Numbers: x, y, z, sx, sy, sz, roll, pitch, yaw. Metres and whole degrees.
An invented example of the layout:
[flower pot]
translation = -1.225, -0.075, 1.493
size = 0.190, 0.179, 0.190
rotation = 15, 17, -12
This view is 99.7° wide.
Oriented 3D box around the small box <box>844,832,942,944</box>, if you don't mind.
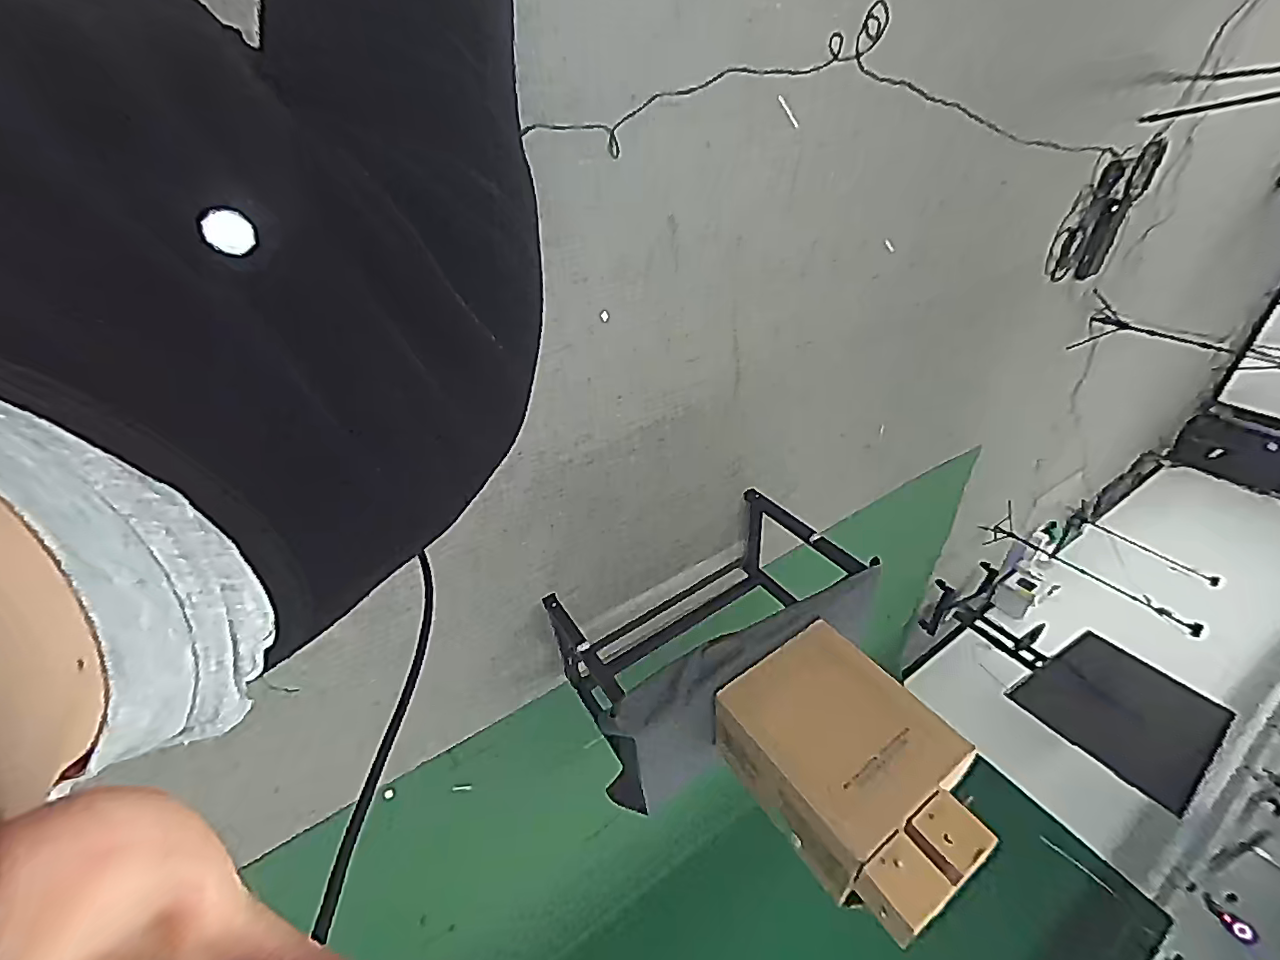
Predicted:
[small box]
translation = 0.690, 1.122, 1.495
size = 0.168, 0.176, 0.179
rotation = -25, 131, -21
